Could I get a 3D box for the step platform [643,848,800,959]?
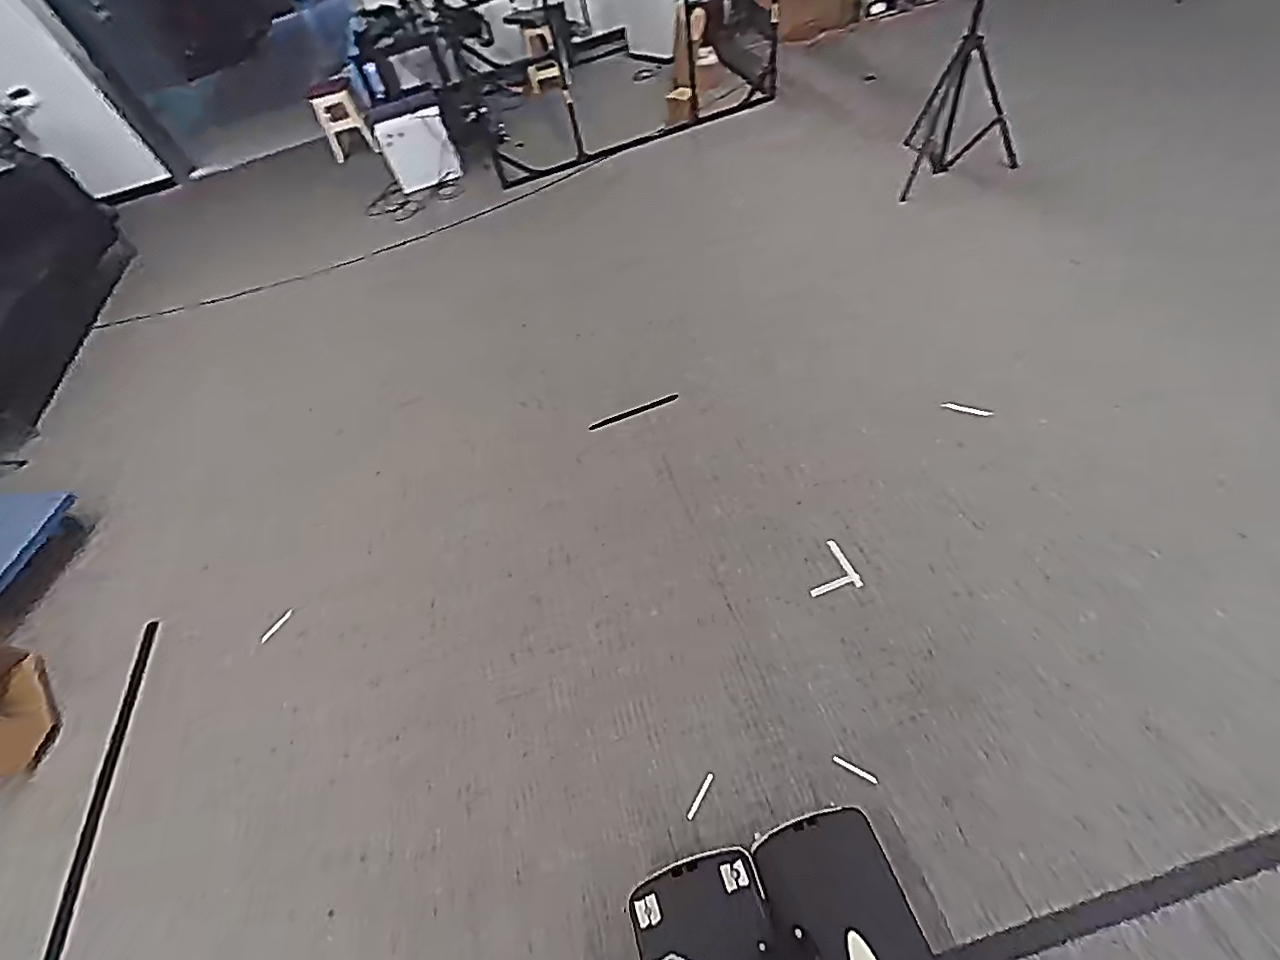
[{"bbox_3d":[0.233,1.122,1.029,0.286,0.204,0.684,-20,51,-3],"label":"step platform"}]
